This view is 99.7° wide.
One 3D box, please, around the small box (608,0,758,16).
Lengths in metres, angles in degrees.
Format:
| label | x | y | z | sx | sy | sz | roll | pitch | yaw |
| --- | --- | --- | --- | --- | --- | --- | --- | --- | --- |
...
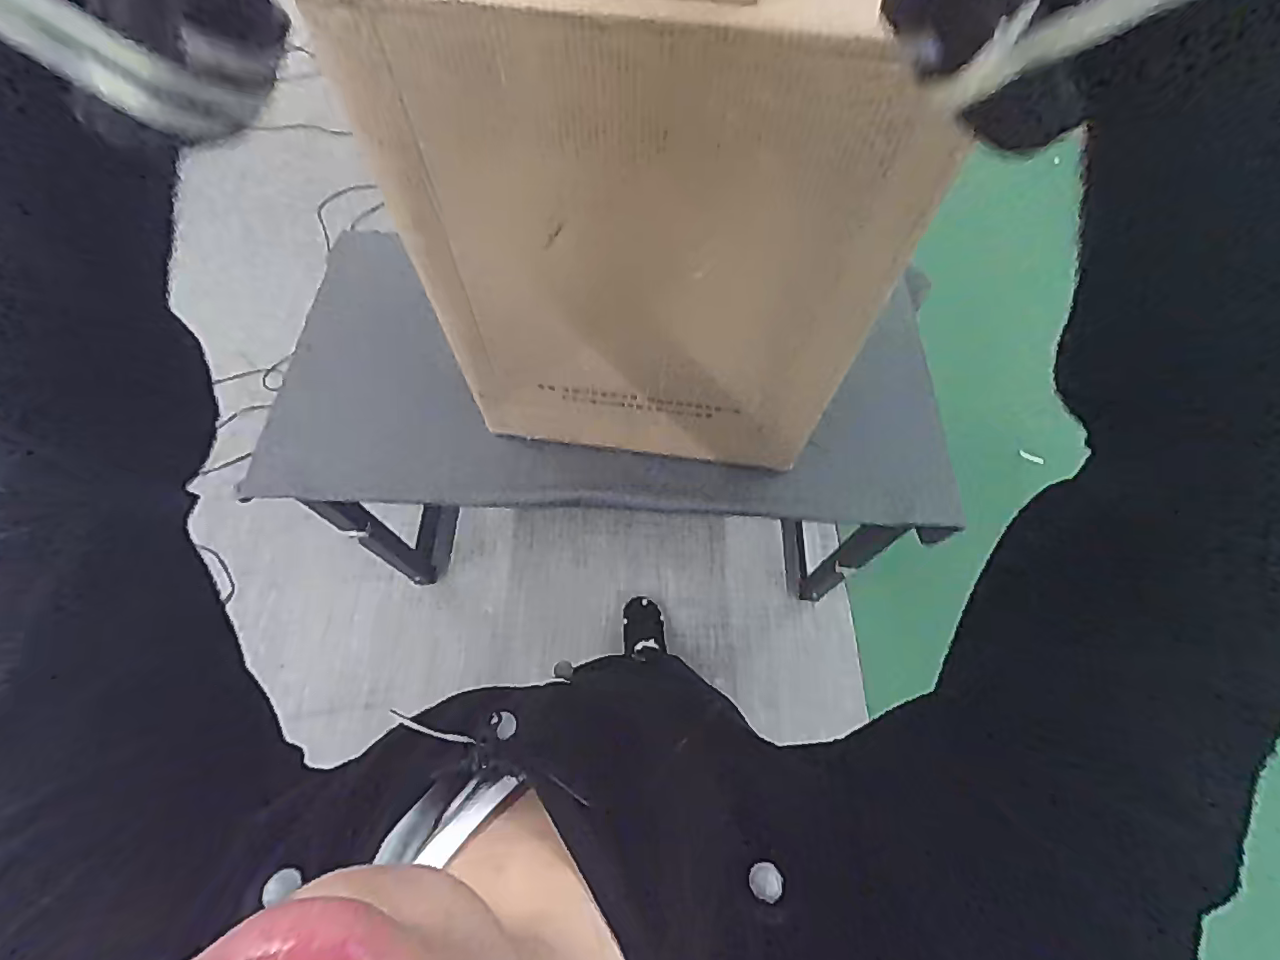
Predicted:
| label | x | y | z | sx | sy | sz | roll | pitch | yaw |
| --- | --- | --- | --- | --- | --- | --- | --- | --- | --- |
| small box | 0.017 | -0.445 | 0.351 | 0.168 | 0.176 | 0.179 | 8 | 66 | 3 |
